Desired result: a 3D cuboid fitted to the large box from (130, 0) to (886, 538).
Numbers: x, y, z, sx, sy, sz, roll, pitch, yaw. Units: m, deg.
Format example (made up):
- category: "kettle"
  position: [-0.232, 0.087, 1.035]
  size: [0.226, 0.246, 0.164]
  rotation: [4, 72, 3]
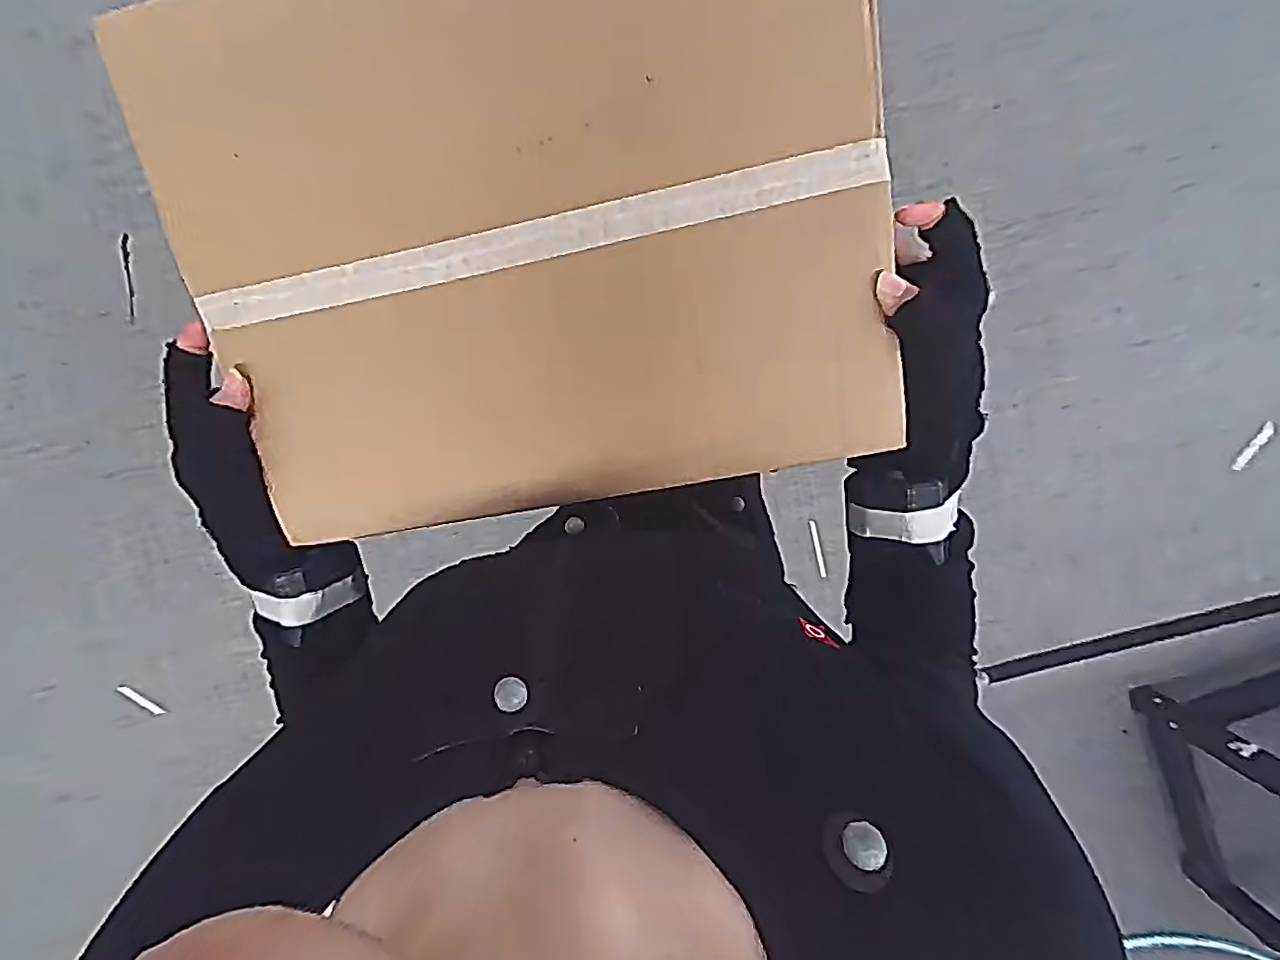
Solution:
- category: "large box"
  position: [-0.058, -0.178, 0.464]
  size: [0.408, 0.320, 0.320]
  rotation: [-10, 104, 7]
